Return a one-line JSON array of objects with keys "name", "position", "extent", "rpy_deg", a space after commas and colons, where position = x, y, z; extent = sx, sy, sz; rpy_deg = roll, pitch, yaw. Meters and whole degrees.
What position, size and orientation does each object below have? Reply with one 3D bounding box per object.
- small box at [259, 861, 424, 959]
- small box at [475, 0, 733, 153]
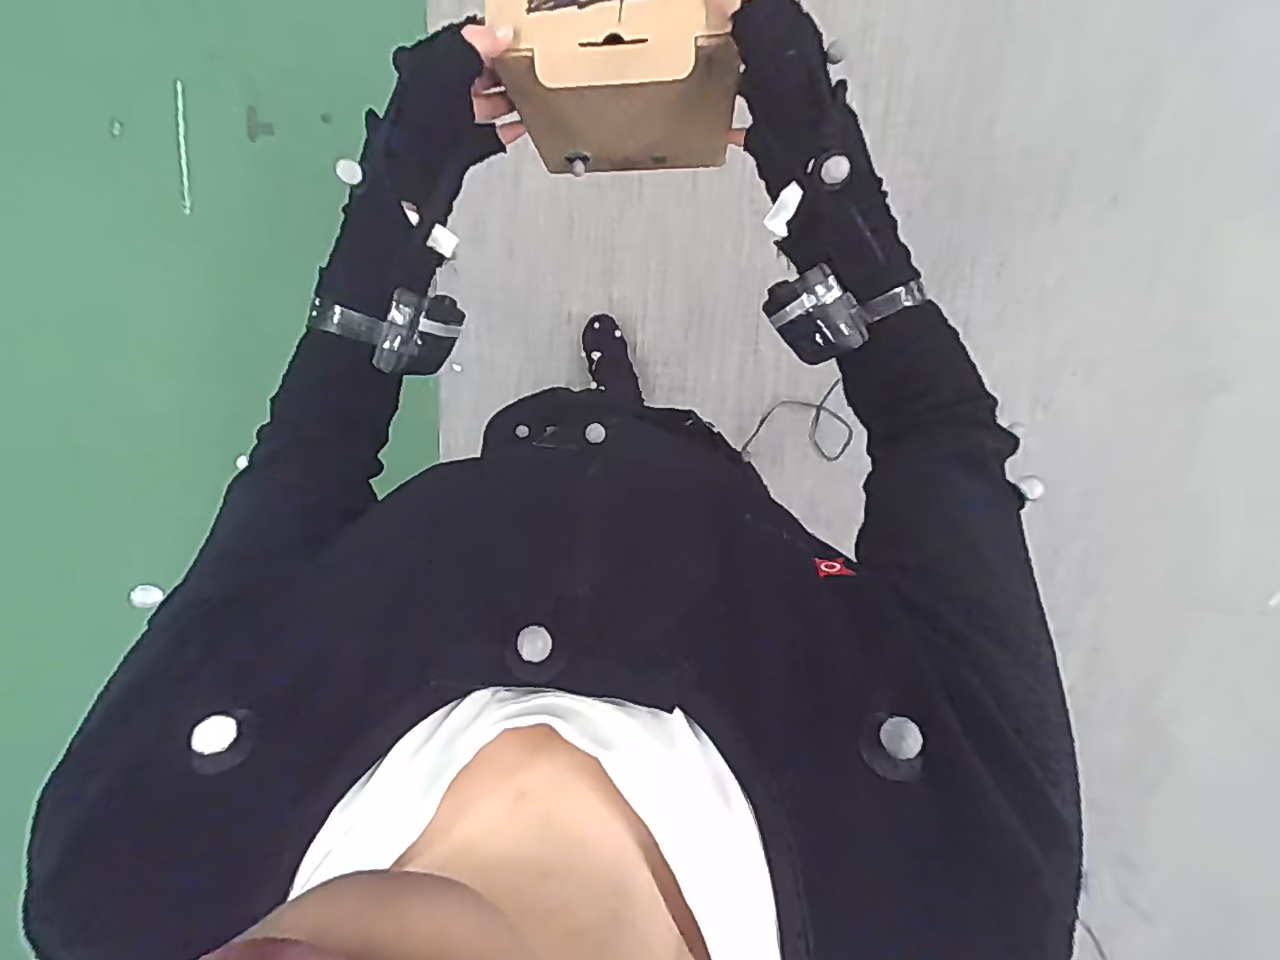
[{"name": "small box", "position": [-0.436, 0.706, 0.784], "extent": [0.168, 0.176, 0.179], "rpy_deg": [15, 102, 2]}, {"name": "small box", "position": [-0.016, -0.372, 0.408], "extent": [0.168, 0.176, 0.179], "rpy_deg": [0, 94, 4]}]
